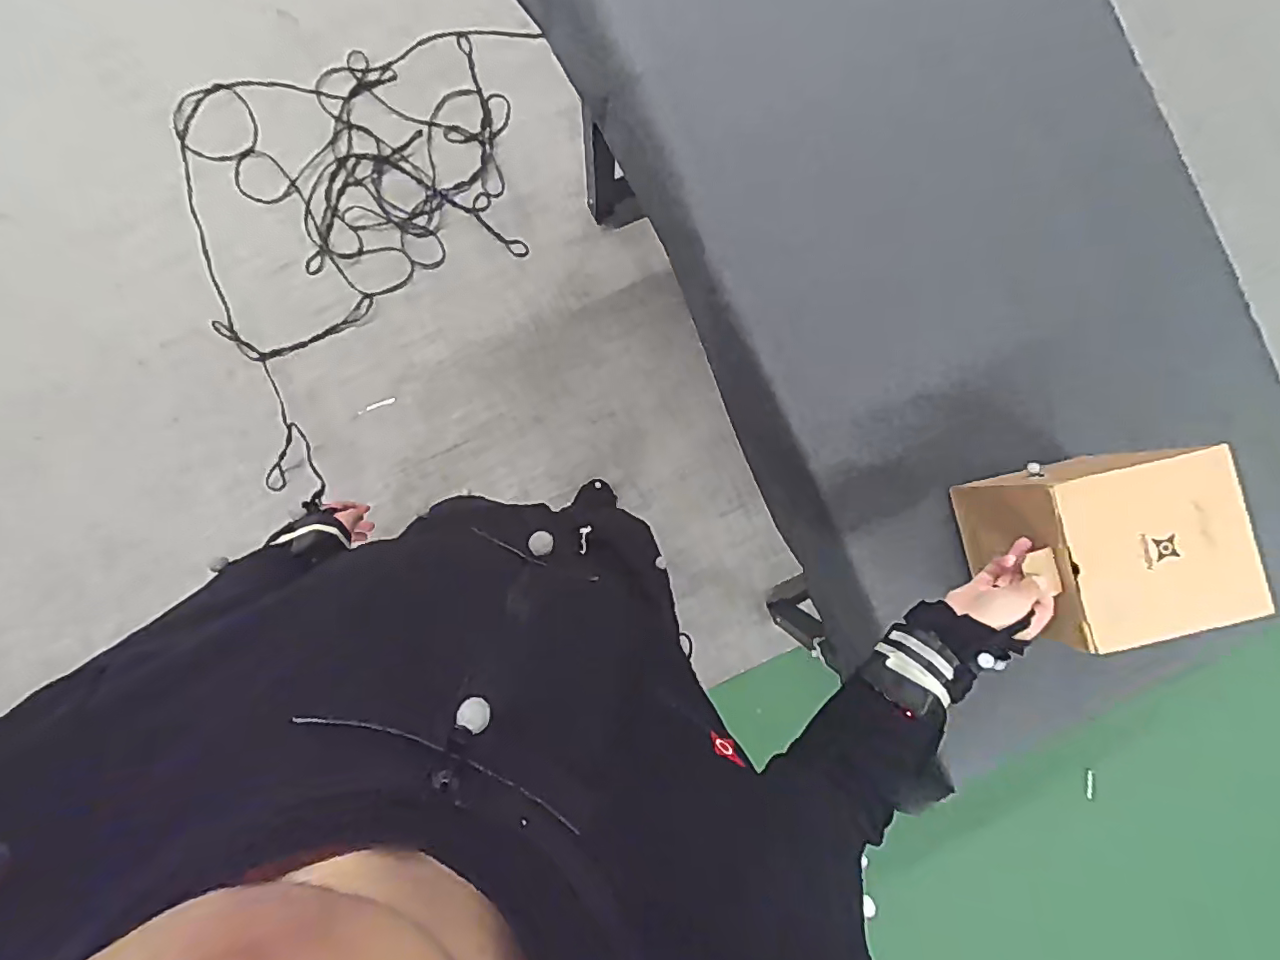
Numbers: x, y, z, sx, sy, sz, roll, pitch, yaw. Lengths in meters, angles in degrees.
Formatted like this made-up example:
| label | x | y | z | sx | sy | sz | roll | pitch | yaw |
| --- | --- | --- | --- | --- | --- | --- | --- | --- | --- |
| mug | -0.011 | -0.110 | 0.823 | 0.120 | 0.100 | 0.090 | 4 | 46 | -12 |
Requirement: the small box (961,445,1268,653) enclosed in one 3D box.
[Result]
| label | x | y | z | sx | sy | sz | roll | pitch | yaw |
| --- | --- | --- | --- | --- | --- | --- | --- | --- | --- |
| small box | 0.482 | 0.067 | 0.584 | 0.179 | 0.176 | 0.168 | -14 | 89 | -2 |
